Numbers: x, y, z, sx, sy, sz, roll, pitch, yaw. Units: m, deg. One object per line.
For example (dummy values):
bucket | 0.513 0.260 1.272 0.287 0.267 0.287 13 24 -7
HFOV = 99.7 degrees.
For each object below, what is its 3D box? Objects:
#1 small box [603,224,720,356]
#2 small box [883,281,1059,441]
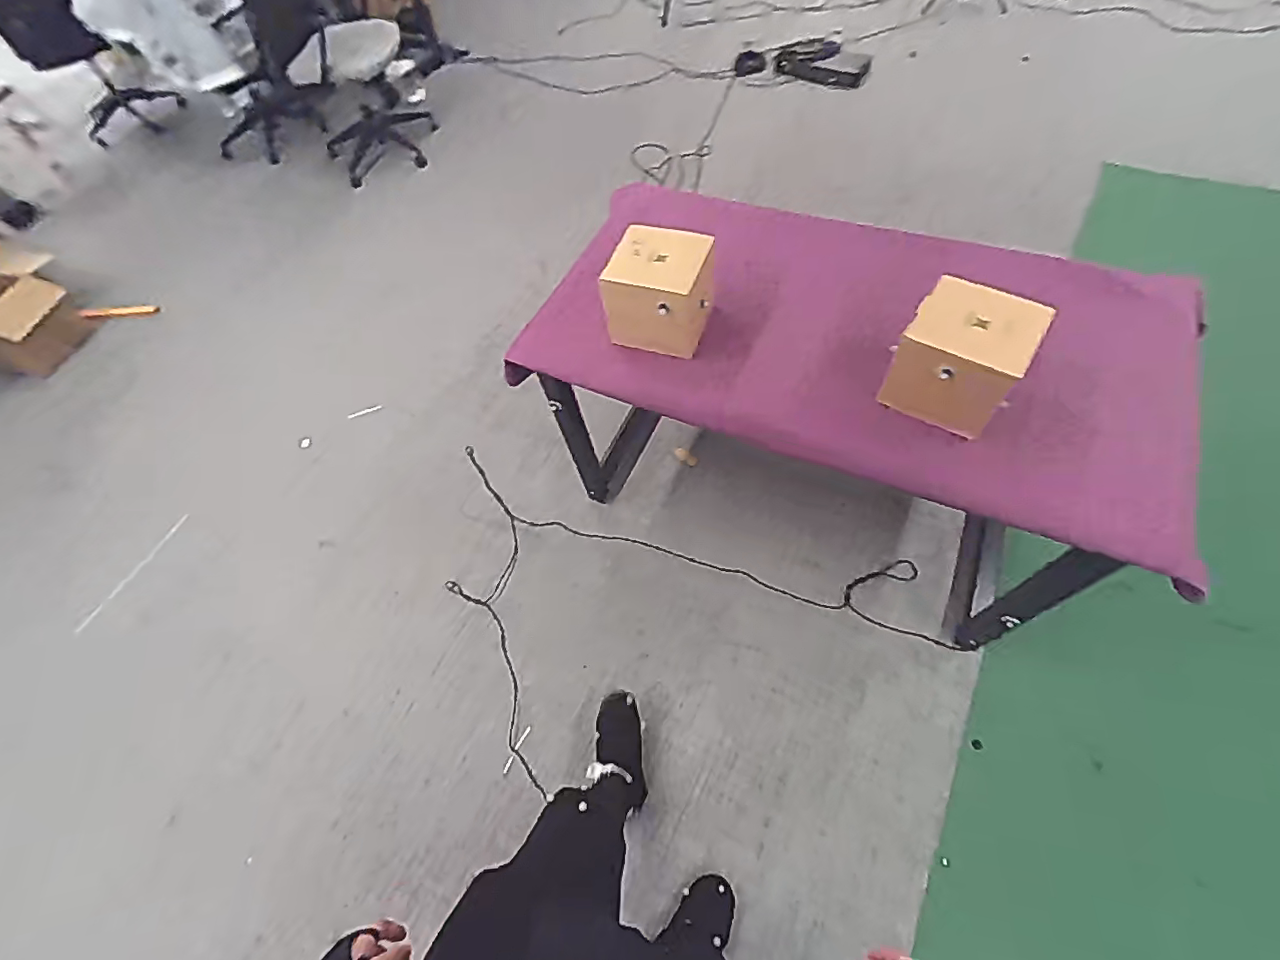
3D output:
small box | 0.048 -0.369 1.068 0.179 0.176 0.168 17 63 16
small box | 0.540 -0.194 0.908 0.179 0.176 0.168 31 68 22
